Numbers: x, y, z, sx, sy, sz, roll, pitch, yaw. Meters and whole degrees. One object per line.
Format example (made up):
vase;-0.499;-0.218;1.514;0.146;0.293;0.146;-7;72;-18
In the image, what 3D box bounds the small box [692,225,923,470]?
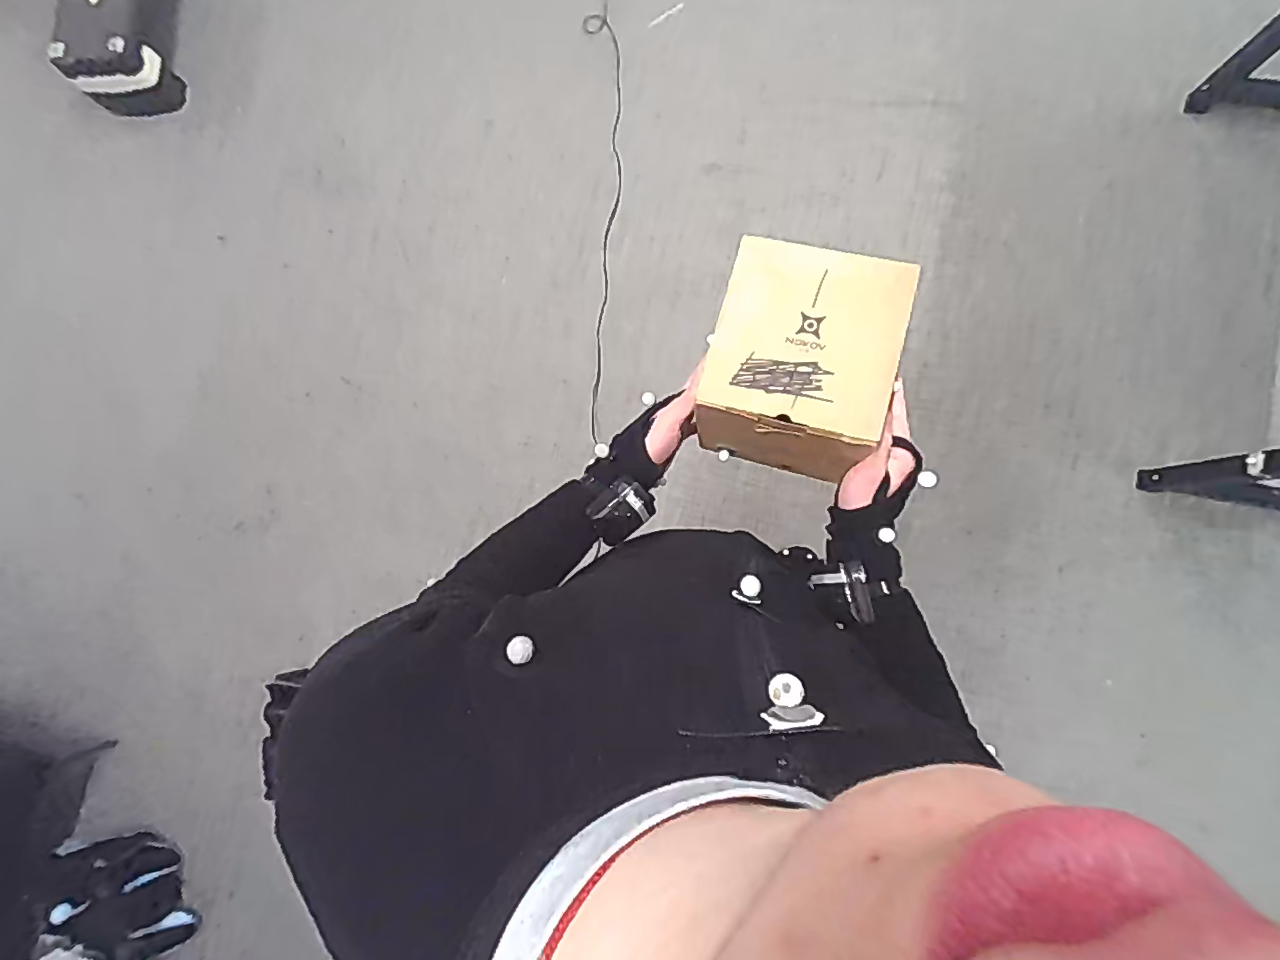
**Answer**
small box;0.160;-0.122;0.558;0.168;0.176;0.179;16;81;11
